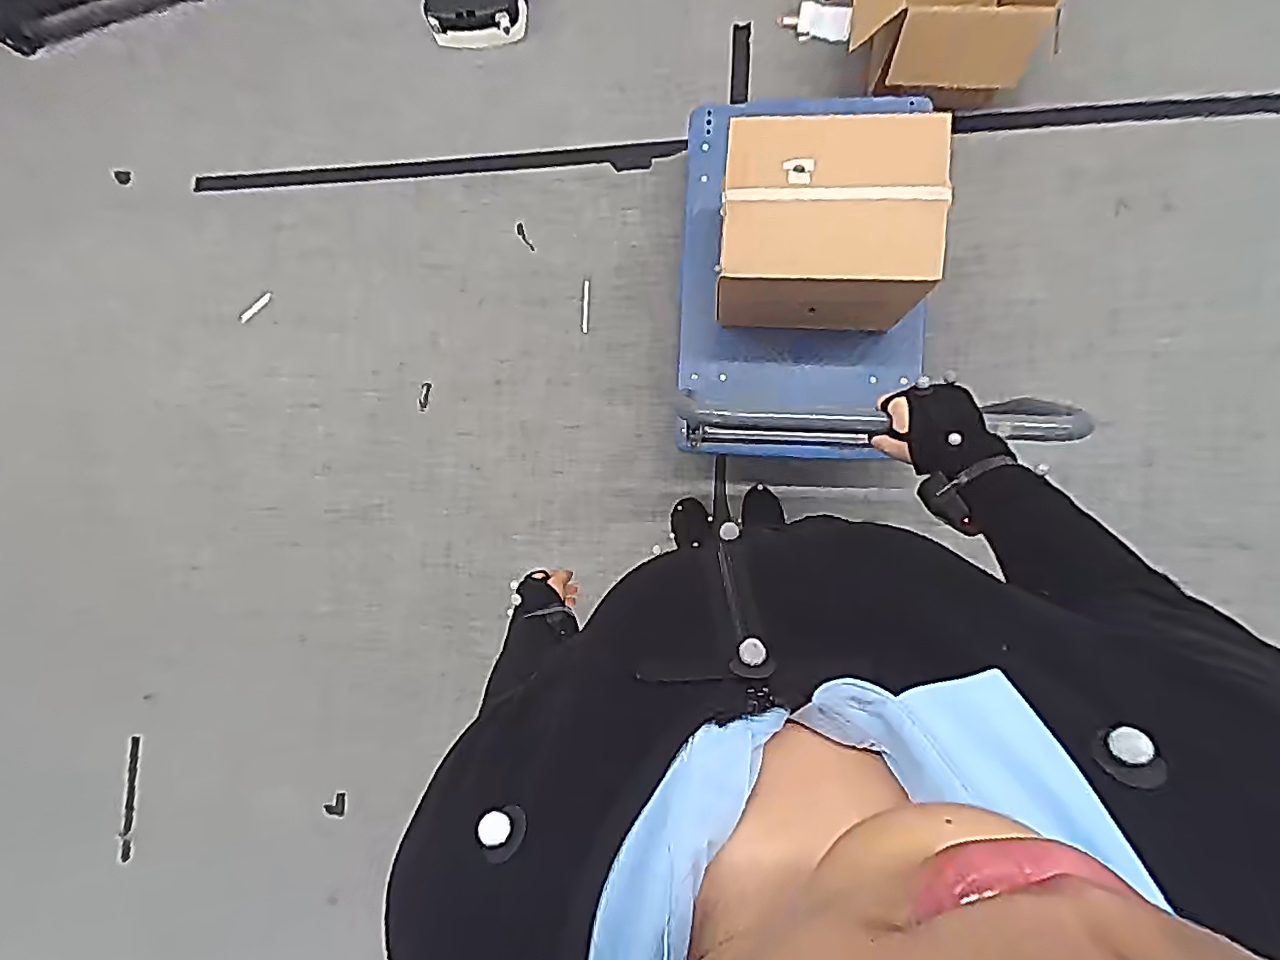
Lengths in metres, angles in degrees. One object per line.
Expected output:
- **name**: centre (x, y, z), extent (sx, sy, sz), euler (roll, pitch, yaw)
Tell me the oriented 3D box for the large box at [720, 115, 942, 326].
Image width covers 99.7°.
- **large box**: centre (0.385, -0.531, 1.177), extent (0.408, 0.320, 0.320), euler (3, 88, 9)
